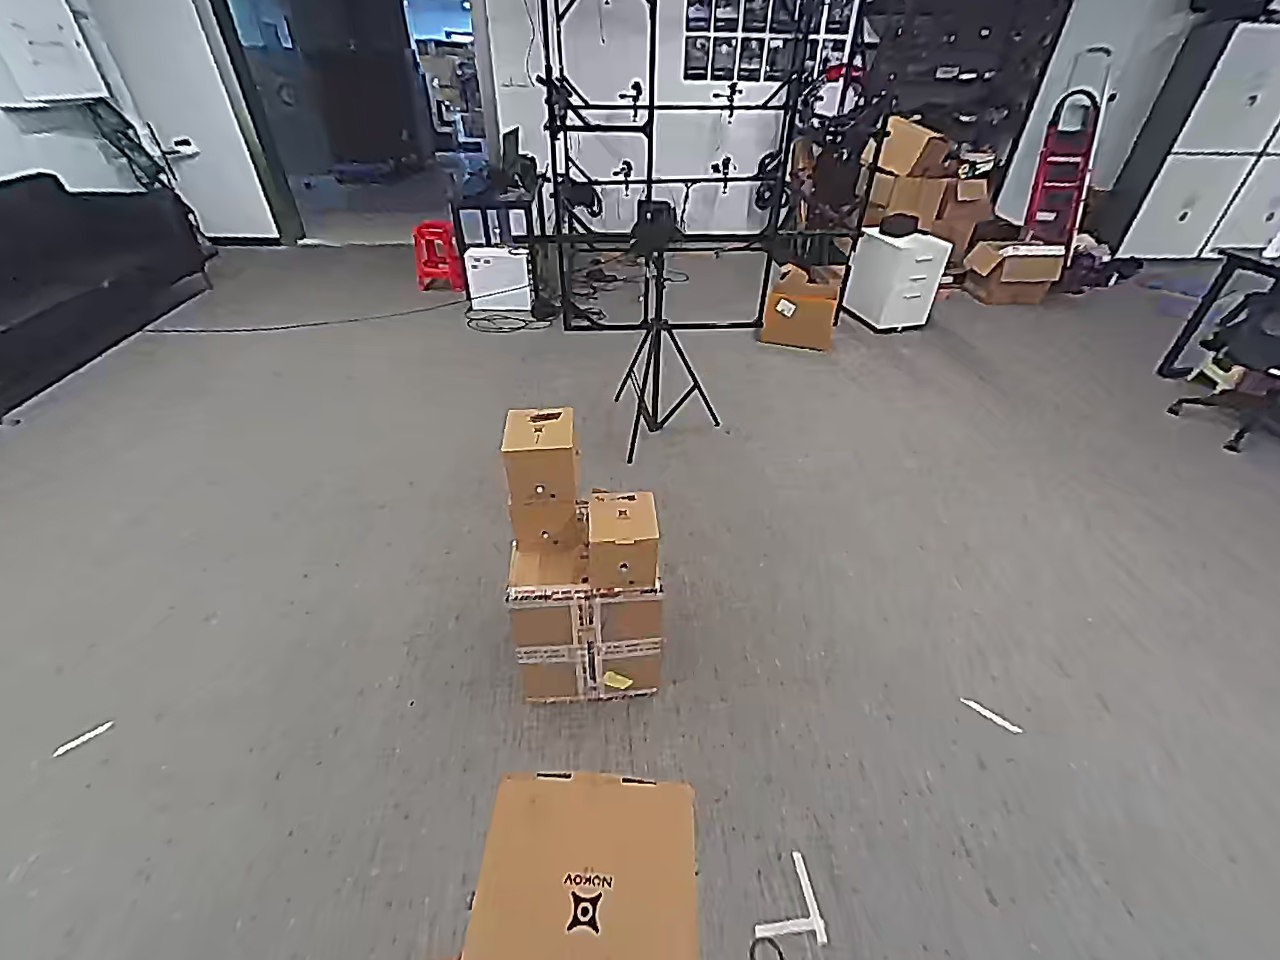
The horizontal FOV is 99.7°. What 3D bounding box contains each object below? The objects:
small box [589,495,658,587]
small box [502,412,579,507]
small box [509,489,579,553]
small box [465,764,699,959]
[{"bbox_3d":[-0.044,0.157,1.361,0.168,0.176,0.179,-1,40,-5],"label":"small box"},{"bbox_3d":[-0.243,-0.052,1.358,0.168,0.176,0.179,-4,40,-3],"label":"small box"},{"bbox_3d":[-0.257,0.074,1.464,0.168,0.176,0.179,-6,40,-6],"label":"small box"},{"bbox_3d":[-0.042,0.367,0.455,0.168,0.176,0.179,3,43,0],"label":"small box"}]
